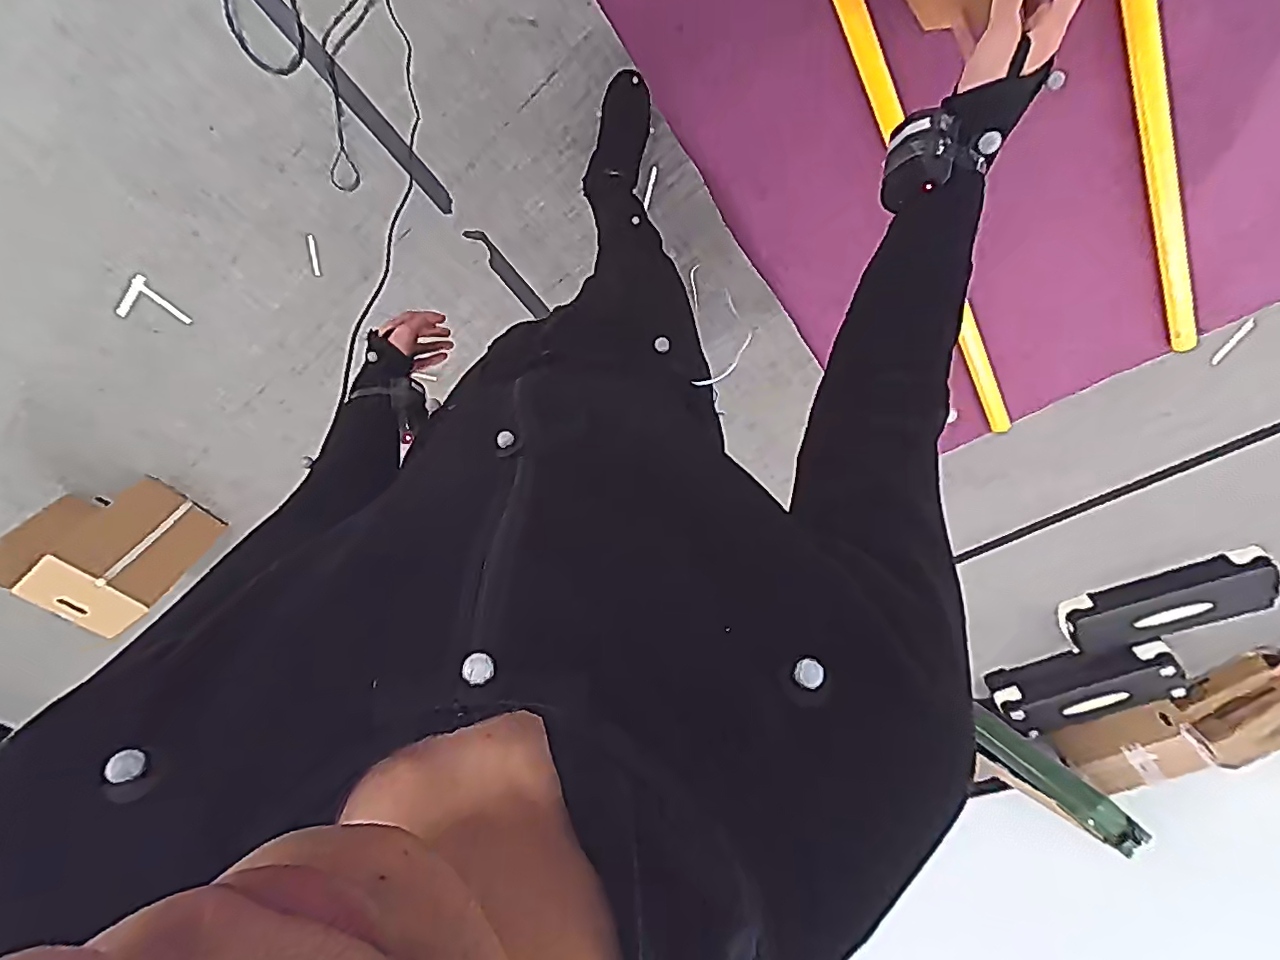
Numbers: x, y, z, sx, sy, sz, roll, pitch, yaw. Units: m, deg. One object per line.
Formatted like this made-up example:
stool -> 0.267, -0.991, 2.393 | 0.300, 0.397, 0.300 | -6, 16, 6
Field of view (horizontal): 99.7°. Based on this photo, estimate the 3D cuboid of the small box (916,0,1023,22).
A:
small box -> 0.288, -0.514, 0.425 | 0.179, 0.176, 0.168 | 37, 121, -24
